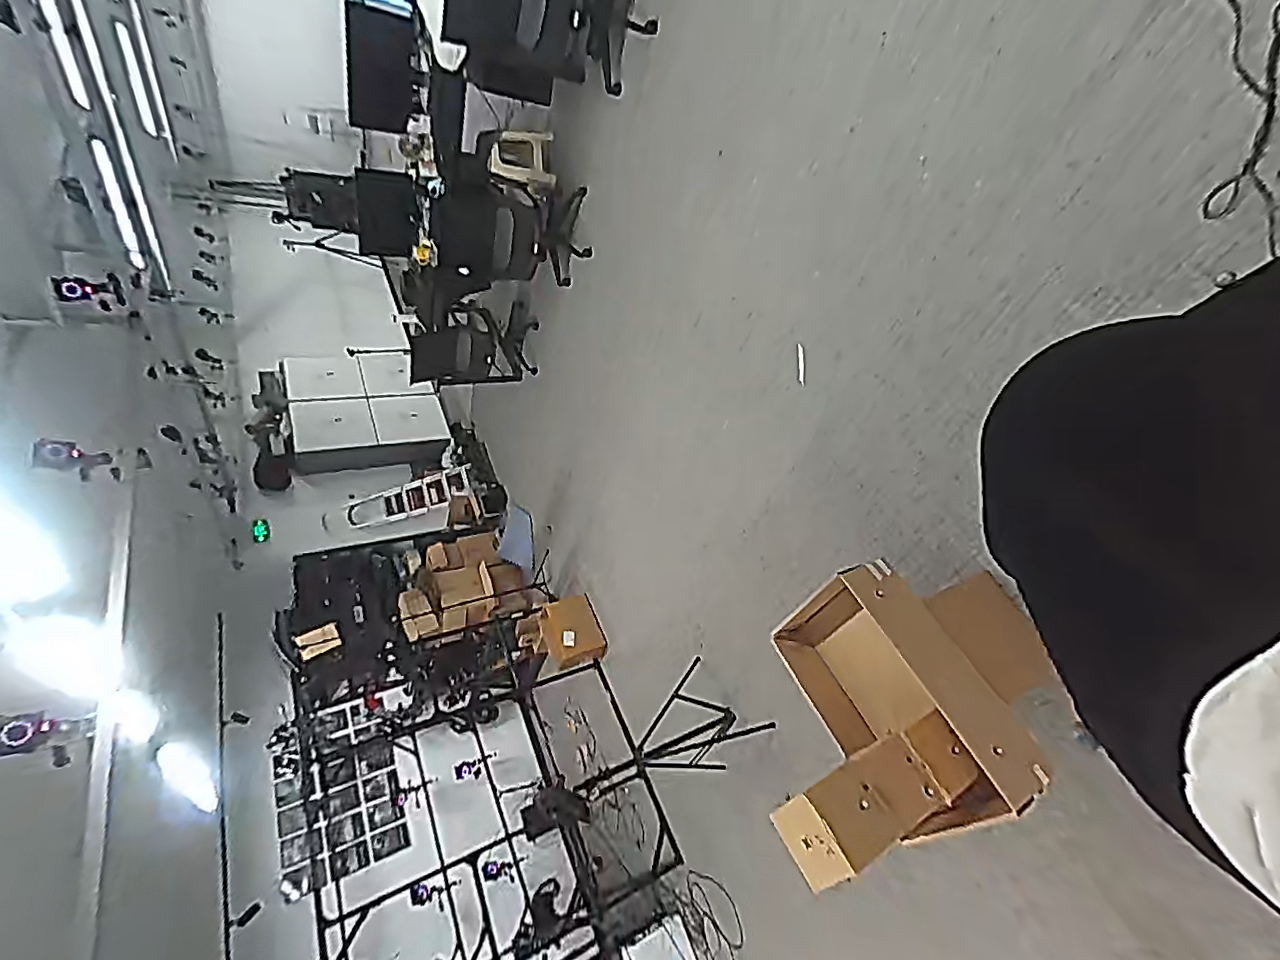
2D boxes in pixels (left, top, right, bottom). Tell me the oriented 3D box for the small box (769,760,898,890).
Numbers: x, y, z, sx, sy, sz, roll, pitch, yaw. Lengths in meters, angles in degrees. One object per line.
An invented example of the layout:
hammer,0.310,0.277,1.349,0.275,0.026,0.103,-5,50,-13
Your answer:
small box,0.428,0.759,1.197,0.168,0.176,0.179,55,141,33

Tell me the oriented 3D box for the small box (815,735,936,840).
small box,0.564,0.737,1.287,0.168,0.176,0.179,59,144,30

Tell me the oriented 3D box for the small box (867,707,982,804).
small box,0.707,0.704,1.361,0.168,0.176,0.179,58,143,30
